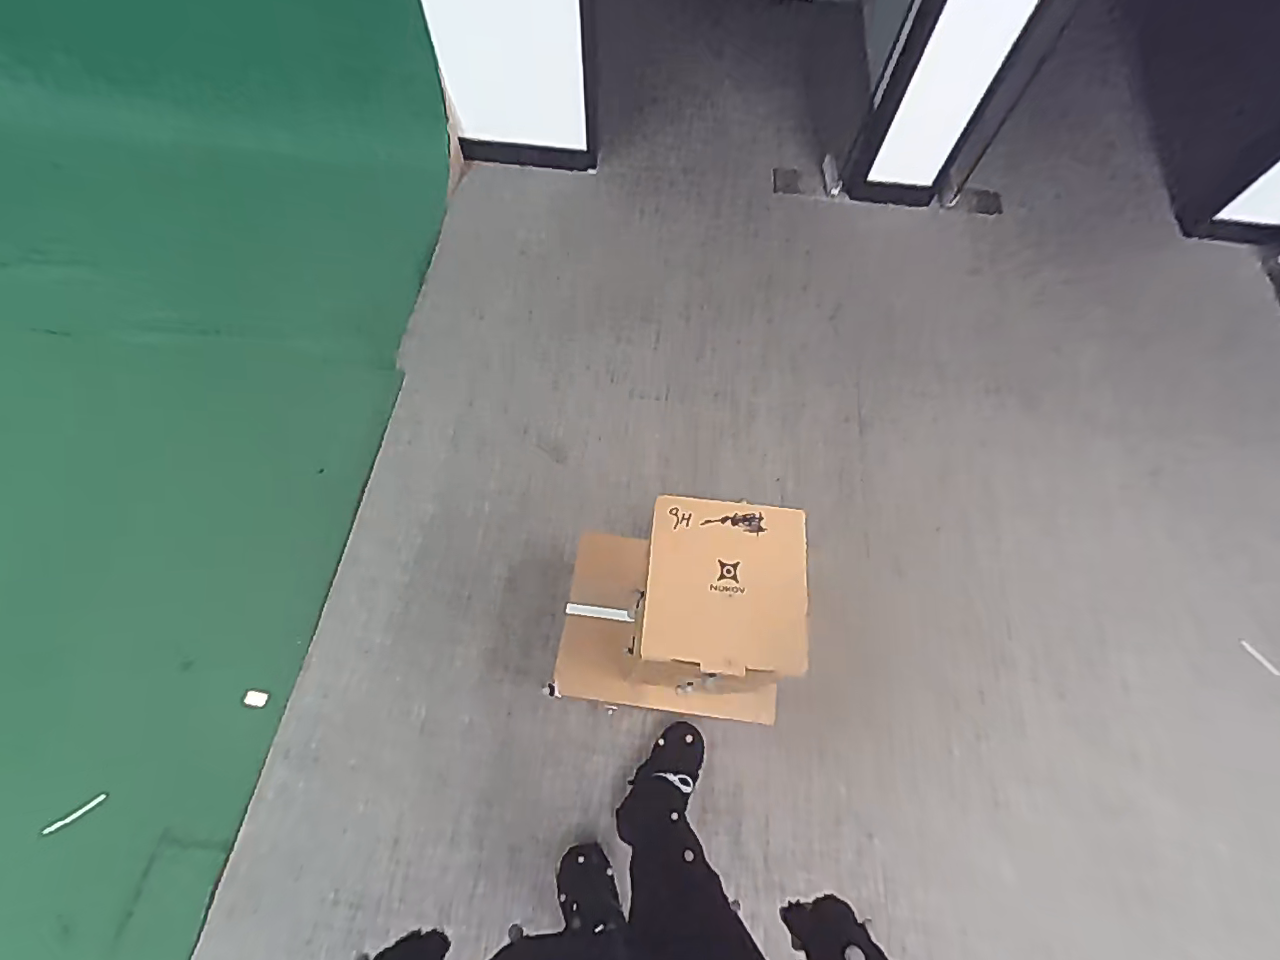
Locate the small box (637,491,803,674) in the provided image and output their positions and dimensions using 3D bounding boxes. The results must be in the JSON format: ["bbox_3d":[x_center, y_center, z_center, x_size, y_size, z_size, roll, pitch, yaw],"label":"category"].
[{"bbox_3d":[0.088,0.128,0.633,0.168,0.176,0.179,5,68,2],"label":"small box"}]

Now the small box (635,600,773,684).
[{"bbox_3d":[0.089,0.199,0.781,0.179,0.176,0.168,6,67,3],"label":"small box"}]
